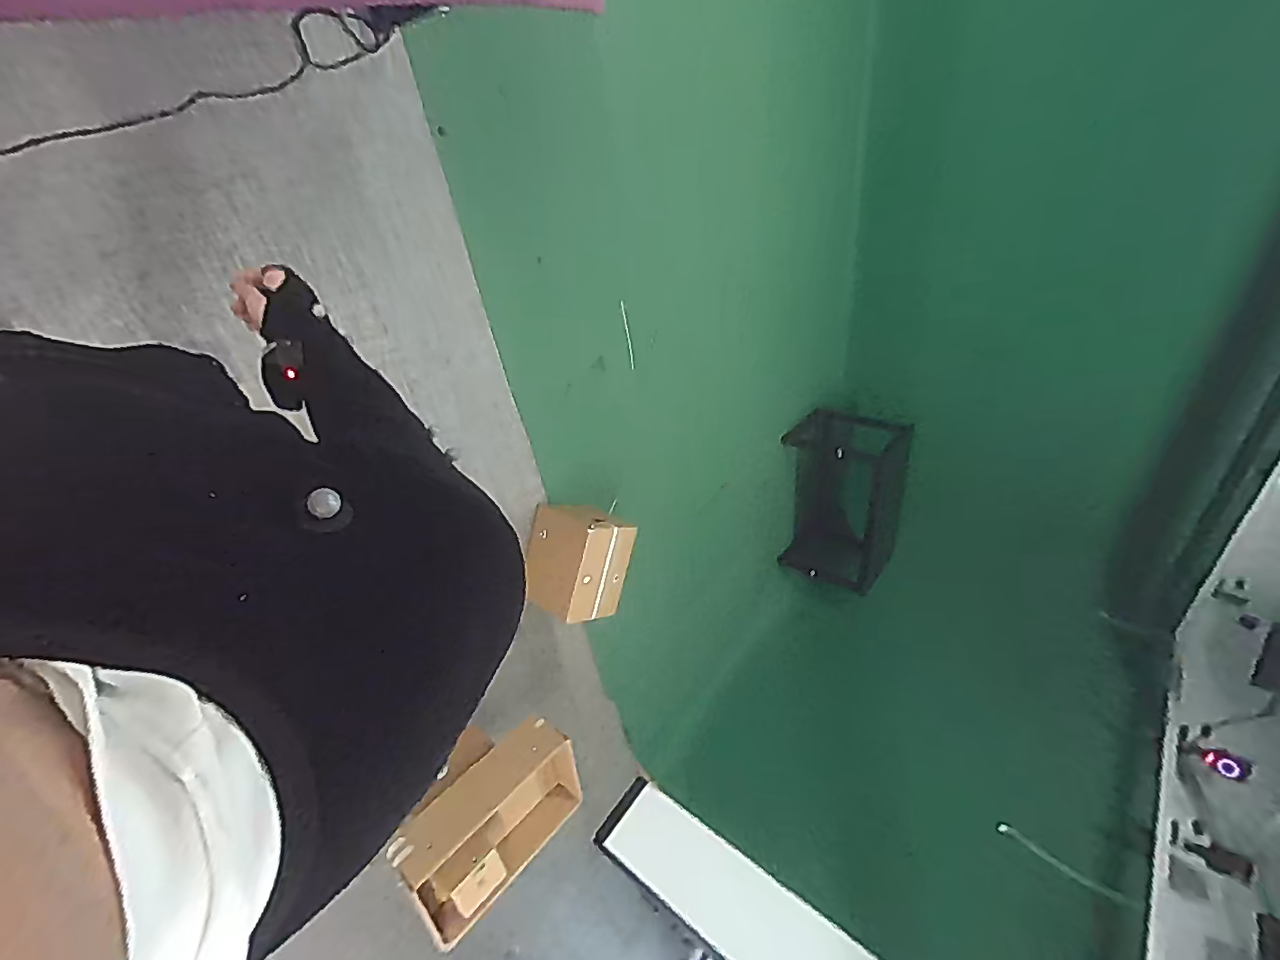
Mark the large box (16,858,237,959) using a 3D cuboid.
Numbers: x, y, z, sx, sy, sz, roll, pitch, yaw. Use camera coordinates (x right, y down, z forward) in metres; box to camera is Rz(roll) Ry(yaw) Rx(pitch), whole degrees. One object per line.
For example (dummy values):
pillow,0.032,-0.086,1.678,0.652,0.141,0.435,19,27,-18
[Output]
large box,-1.361,1.353,1.442,0.408,0.320,0.320,-15,118,-50
